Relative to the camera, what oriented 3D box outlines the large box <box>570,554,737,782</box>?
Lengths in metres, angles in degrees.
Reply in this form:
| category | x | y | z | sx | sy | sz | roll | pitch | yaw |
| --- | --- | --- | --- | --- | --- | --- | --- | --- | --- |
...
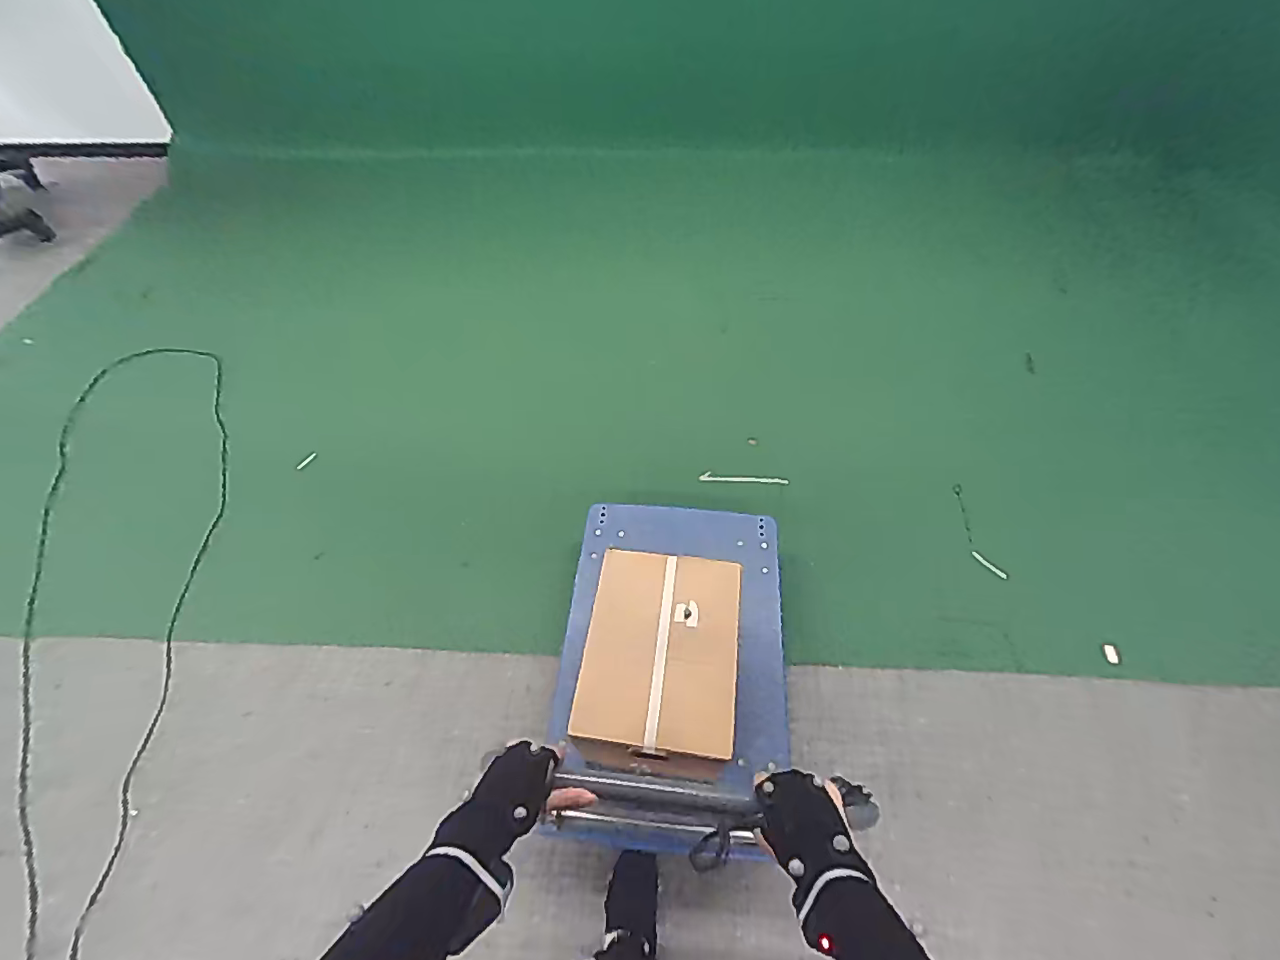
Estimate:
| category | x | y | z | sx | sy | sz | roll | pitch | yaw |
| --- | --- | --- | --- | --- | --- | --- | --- | --- | --- |
| large box | 0.046 | 0.432 | 1.243 | 0.320 | 0.320 | 0.408 | 7 | 54 | 6 |
